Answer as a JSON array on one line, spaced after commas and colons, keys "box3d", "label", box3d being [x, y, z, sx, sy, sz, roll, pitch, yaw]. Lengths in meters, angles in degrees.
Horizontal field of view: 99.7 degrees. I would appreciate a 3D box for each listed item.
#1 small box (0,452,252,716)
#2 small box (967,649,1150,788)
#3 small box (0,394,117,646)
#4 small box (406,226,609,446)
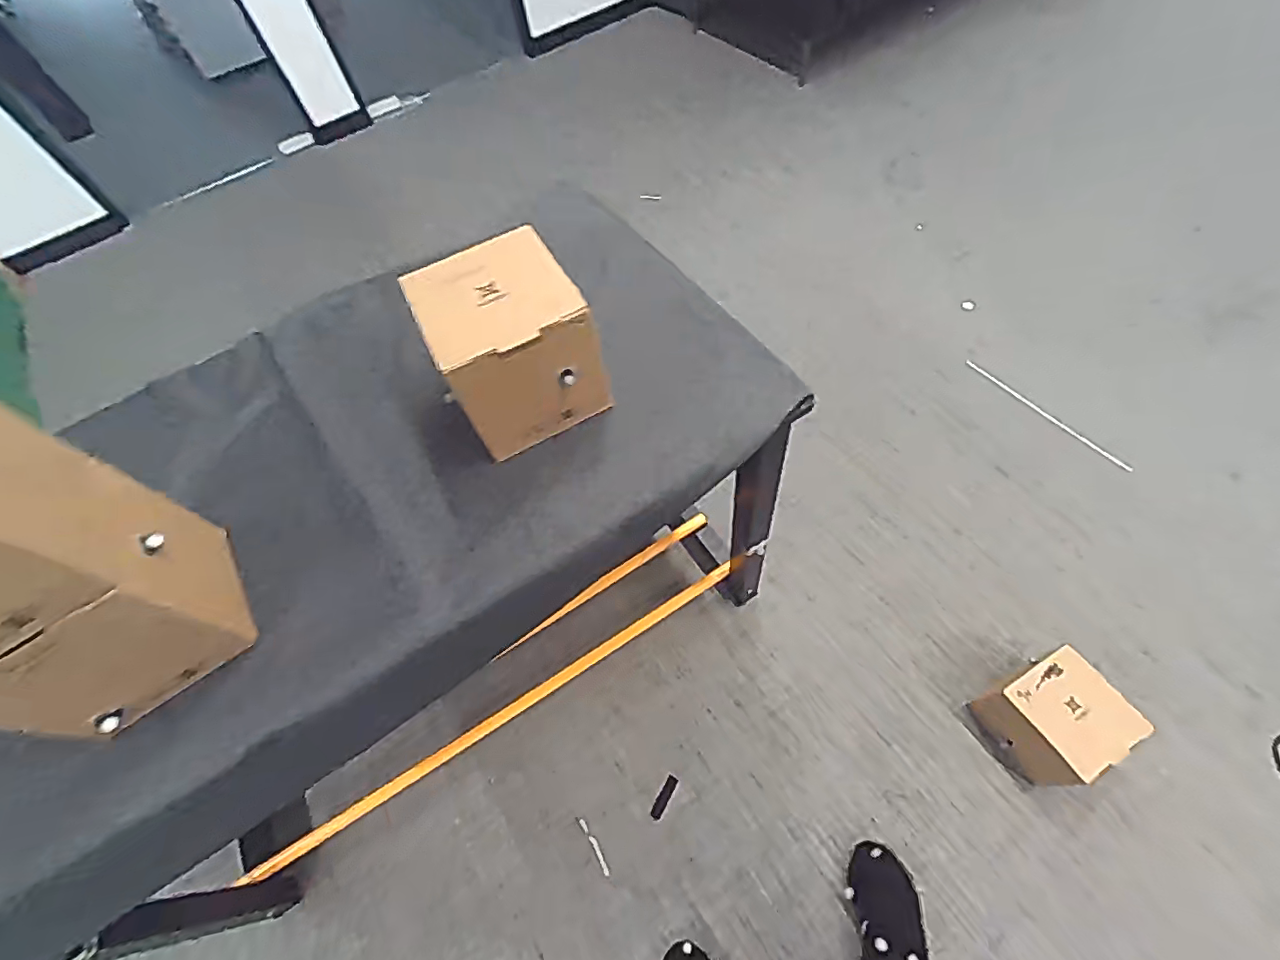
[{"box3d": [-0.535, 0.112, 0.541, 0.168, 0.176, 0.179, -34, 60, -13], "label": "small box"}, {"box3d": [0.772, 0.451, 1.021, 0.168, 0.176, 0.179, -28, 61, -10], "label": "small box"}, {"box3d": [-0.554, 0.026, 0.402, 0.168, 0.176, 0.179, -36, 61, -14], "label": "small box"}, {"box3d": [-0.152, -0.164, 0.660, 0.168, 0.176, 0.179, -27, 59, -10], "label": "small box"}]
